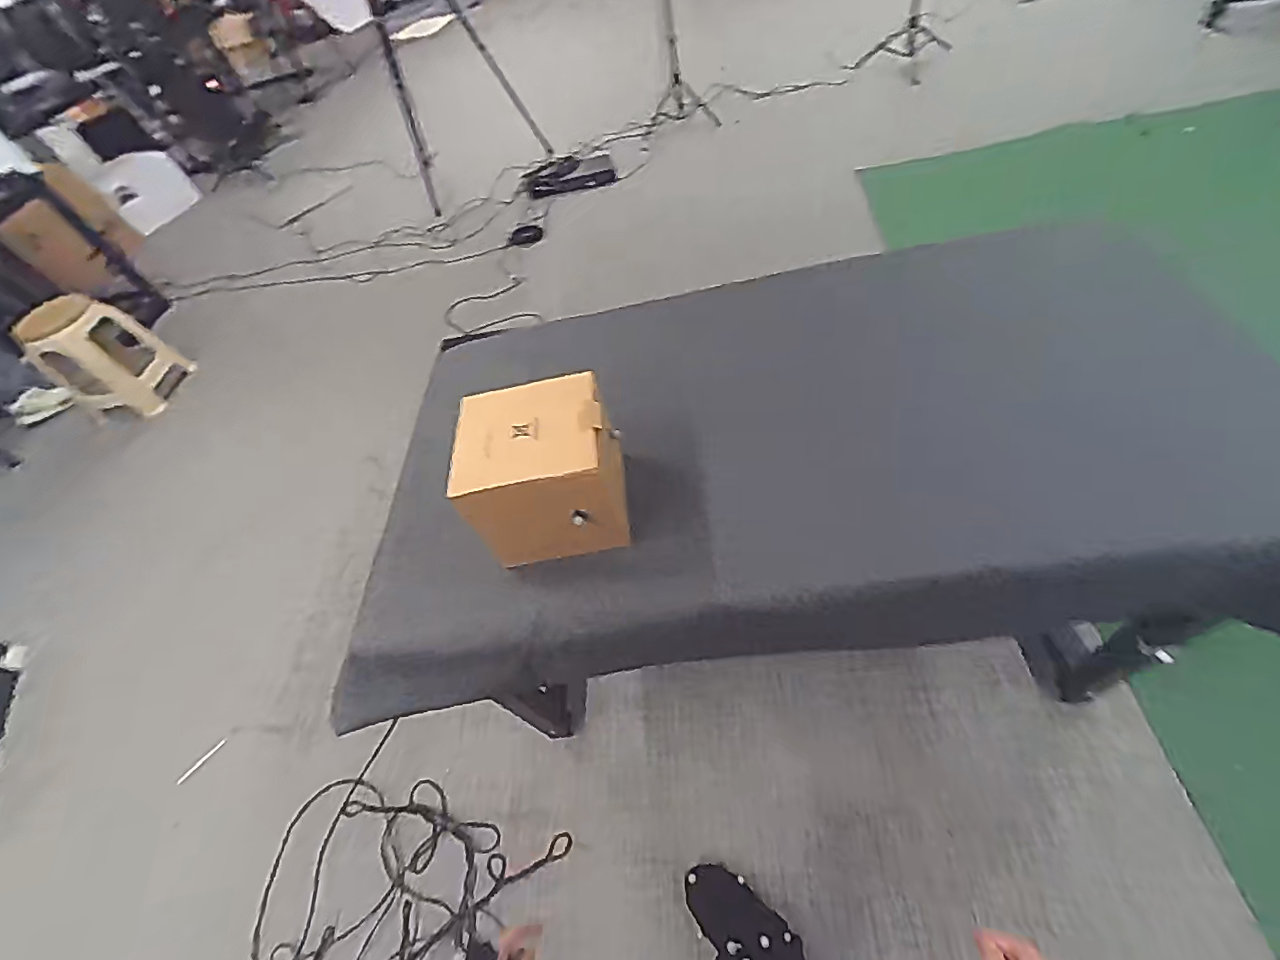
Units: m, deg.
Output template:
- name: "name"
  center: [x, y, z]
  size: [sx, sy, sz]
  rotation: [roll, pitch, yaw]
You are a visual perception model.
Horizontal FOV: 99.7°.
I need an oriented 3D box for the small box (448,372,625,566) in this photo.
- name: "small box"
  center: [-0.121, -0.008, 0.701]
  size: [0.179, 0.176, 0.168]
  rotation: [-12, 50, 5]
